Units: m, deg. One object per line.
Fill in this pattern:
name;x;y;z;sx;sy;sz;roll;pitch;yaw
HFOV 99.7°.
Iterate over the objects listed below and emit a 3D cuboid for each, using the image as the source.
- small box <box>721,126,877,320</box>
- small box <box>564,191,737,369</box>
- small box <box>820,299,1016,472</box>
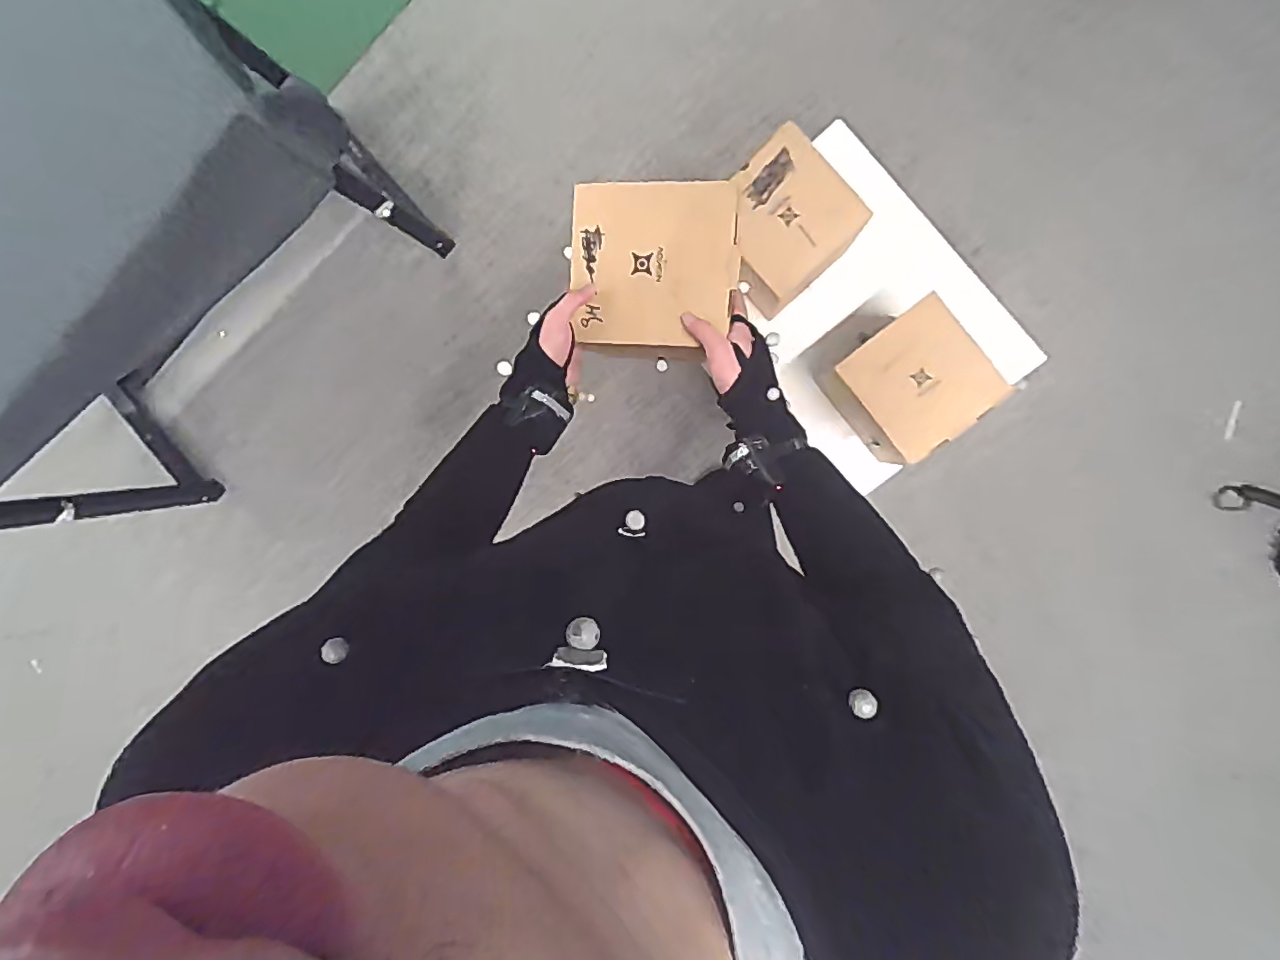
small box;0.214;-0.368;0.815;0.168;0.176;0.179;-41;89;10
small box;0.020;-0.224;0.641;0.179;0.176;0.168;4;97;9
small box;0.396;-0.132;0.805;0.168;0.176;0.179;-38;86;9
